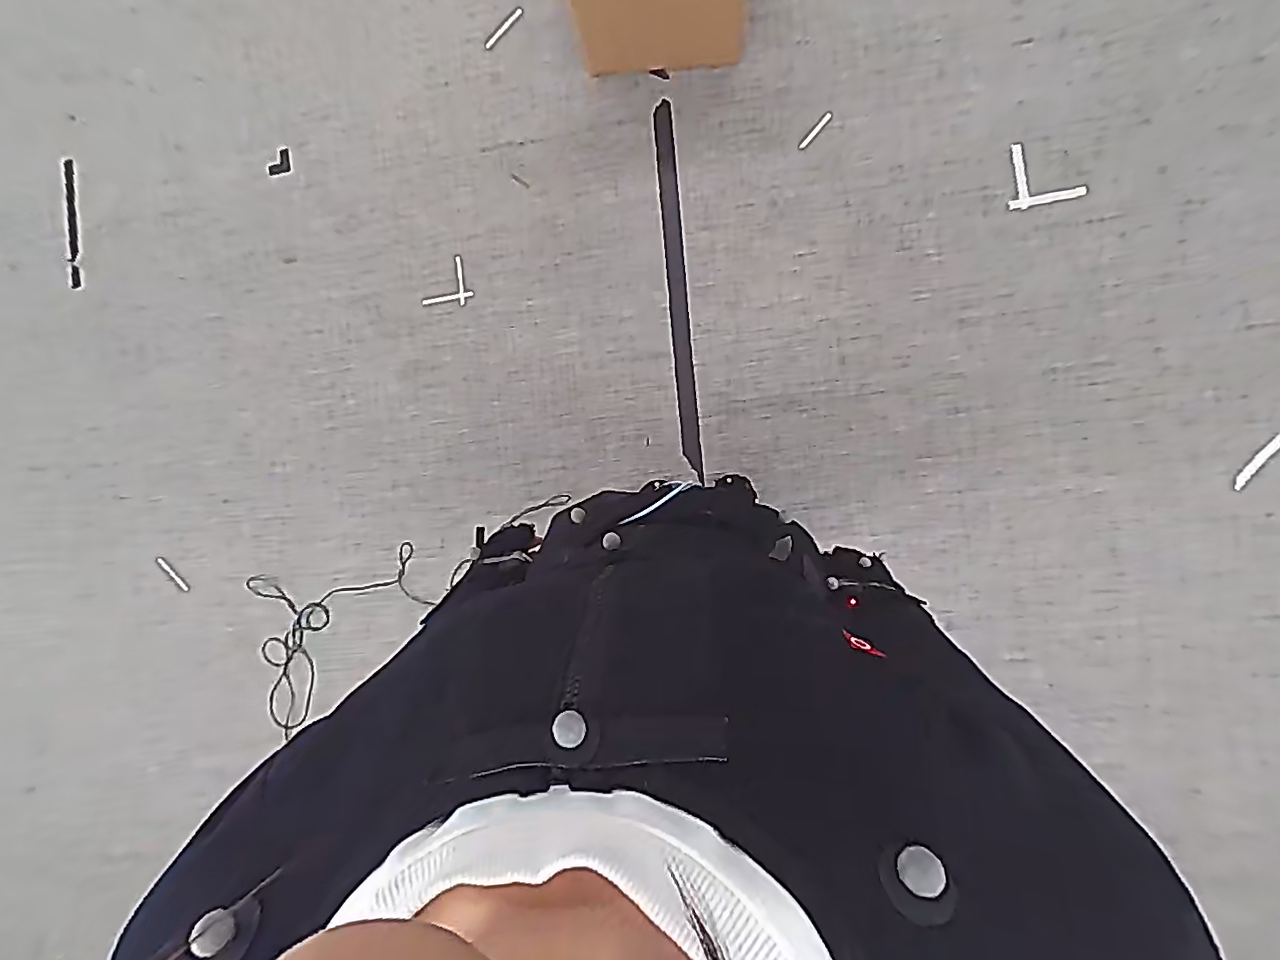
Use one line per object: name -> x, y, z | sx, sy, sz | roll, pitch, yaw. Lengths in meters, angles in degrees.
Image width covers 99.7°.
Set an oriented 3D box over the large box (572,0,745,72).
large box -> 0.045, -1.246, 1.288 | 0.408, 0.320, 0.320 | 1, 92, 6
